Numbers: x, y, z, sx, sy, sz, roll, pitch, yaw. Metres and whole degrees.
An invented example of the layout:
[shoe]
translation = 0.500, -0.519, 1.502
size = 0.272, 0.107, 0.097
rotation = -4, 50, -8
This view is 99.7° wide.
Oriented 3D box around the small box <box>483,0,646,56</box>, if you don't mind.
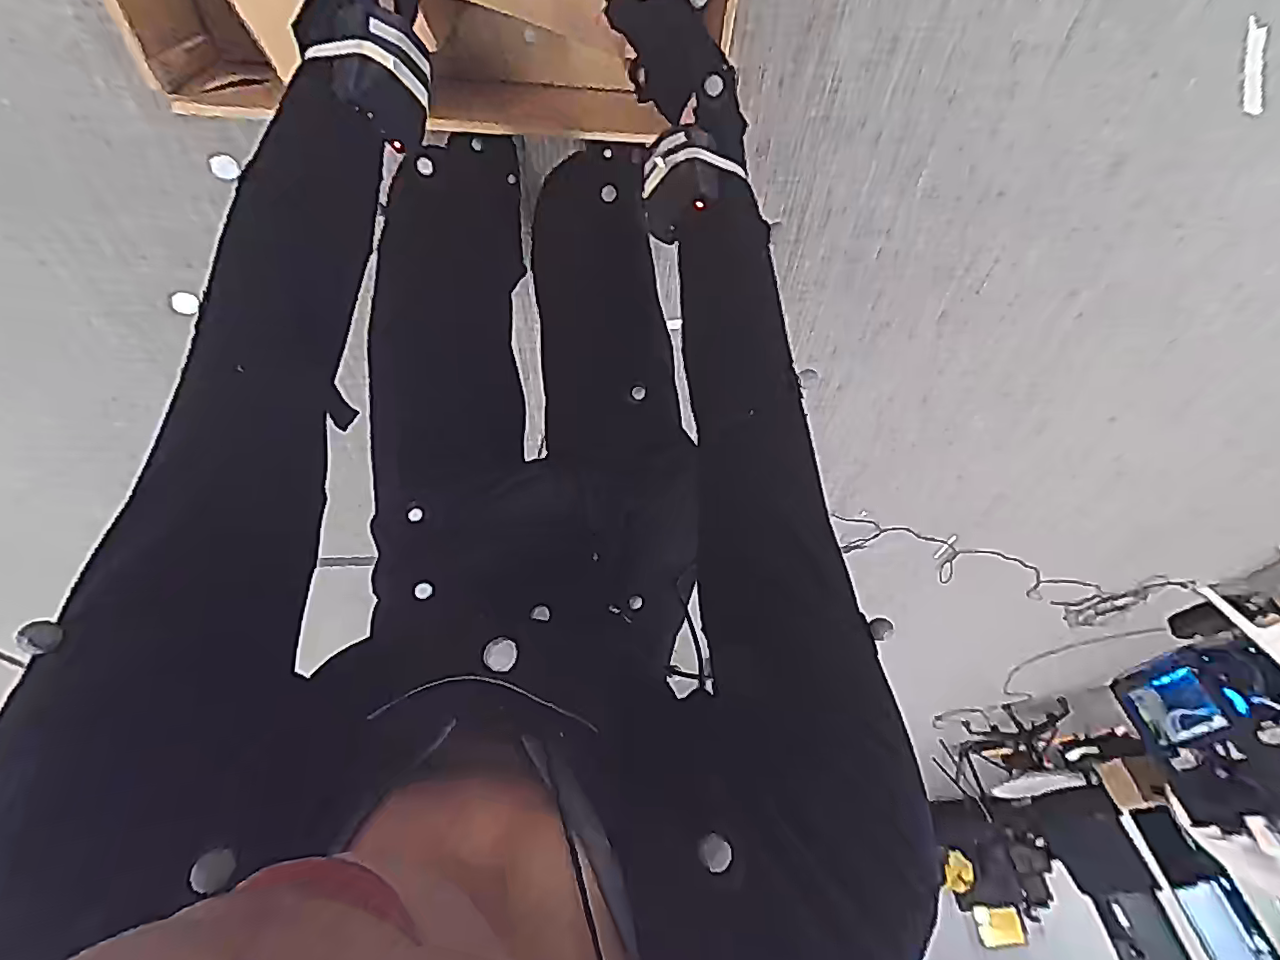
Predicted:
[small box]
translation = -0.066, -0.498, 0.459
size = 0.168, 0.176, 0.179
rotation = 10, 129, -14
